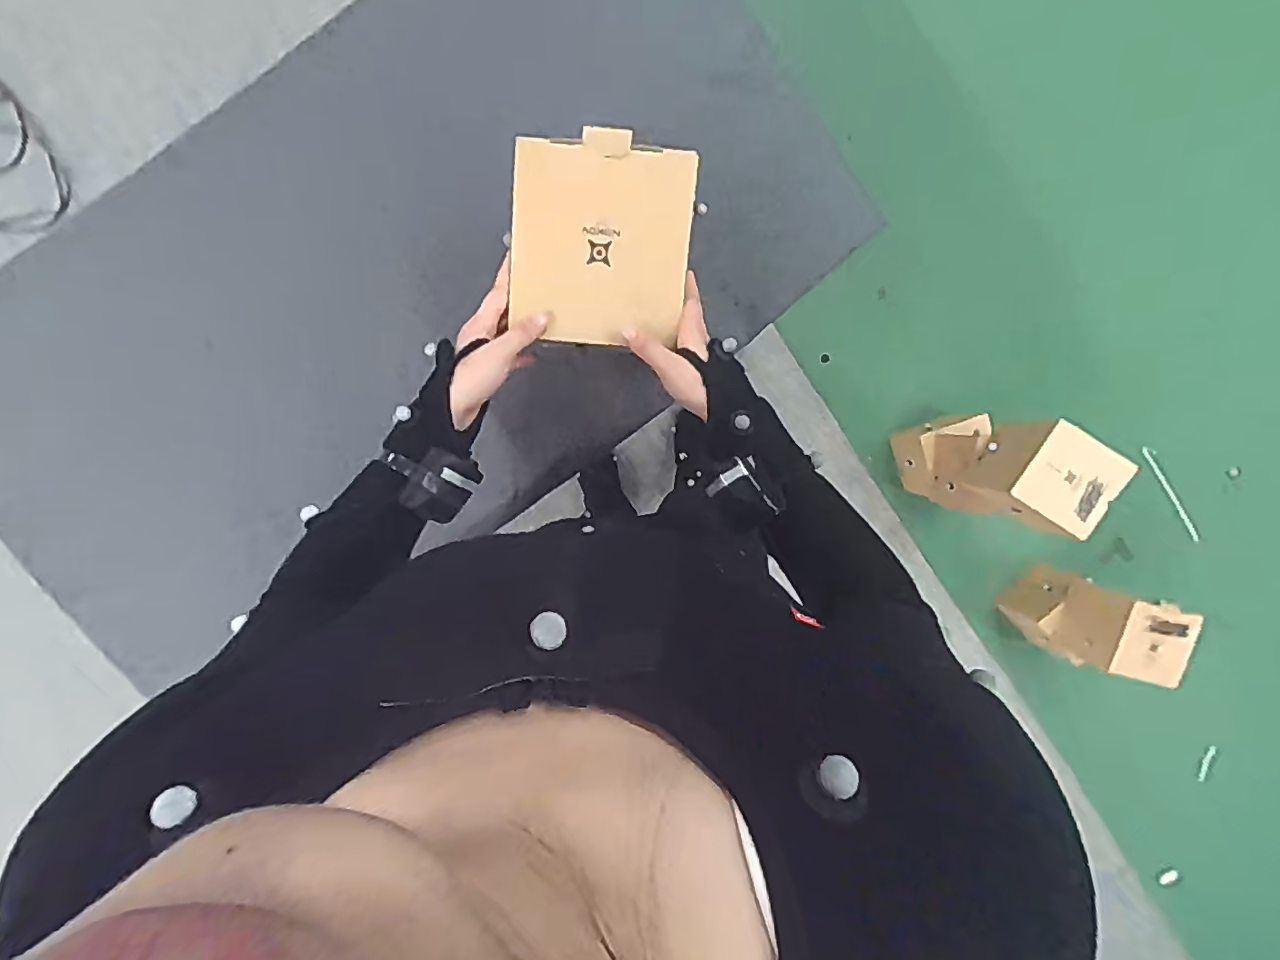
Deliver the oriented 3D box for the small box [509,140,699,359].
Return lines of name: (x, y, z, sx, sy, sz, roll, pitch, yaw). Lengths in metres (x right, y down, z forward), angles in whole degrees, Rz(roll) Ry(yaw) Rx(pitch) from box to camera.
small box: (-0.033, -0.222, 0.565, 0.168, 0.176, 0.179, 4, 102, 0)

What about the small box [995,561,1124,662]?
small box: (1.111, 0.342, 1.447, 0.179, 0.176, 0.168, -45, 96, 3)

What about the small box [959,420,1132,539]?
small box: (0.789, -0.012, 1.072, 0.179, 0.176, 0.168, 31, 96, -4)

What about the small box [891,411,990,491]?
small box: (0.775, -0.073, 1.393, 0.179, 0.176, 0.168, -19, 98, 1)

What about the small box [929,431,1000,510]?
small box: (0.791, -0.024, 1.236, 0.179, 0.176, 0.168, 1, 98, -2)
